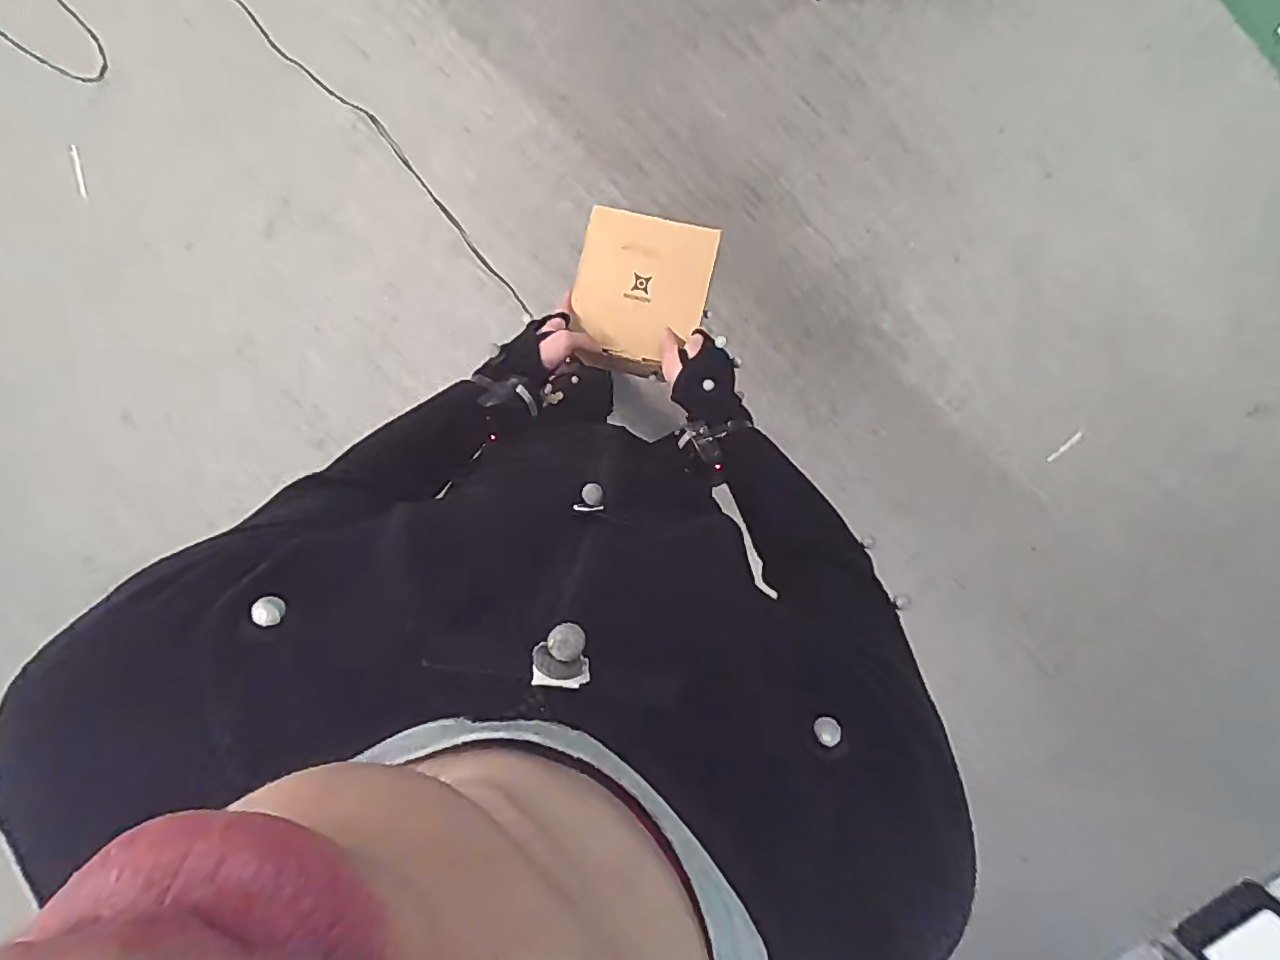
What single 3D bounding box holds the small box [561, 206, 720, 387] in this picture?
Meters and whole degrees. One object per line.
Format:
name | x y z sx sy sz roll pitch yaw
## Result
small box | 0.004 -0.234 0.736 0.168 0.176 0.179 13 92 3
